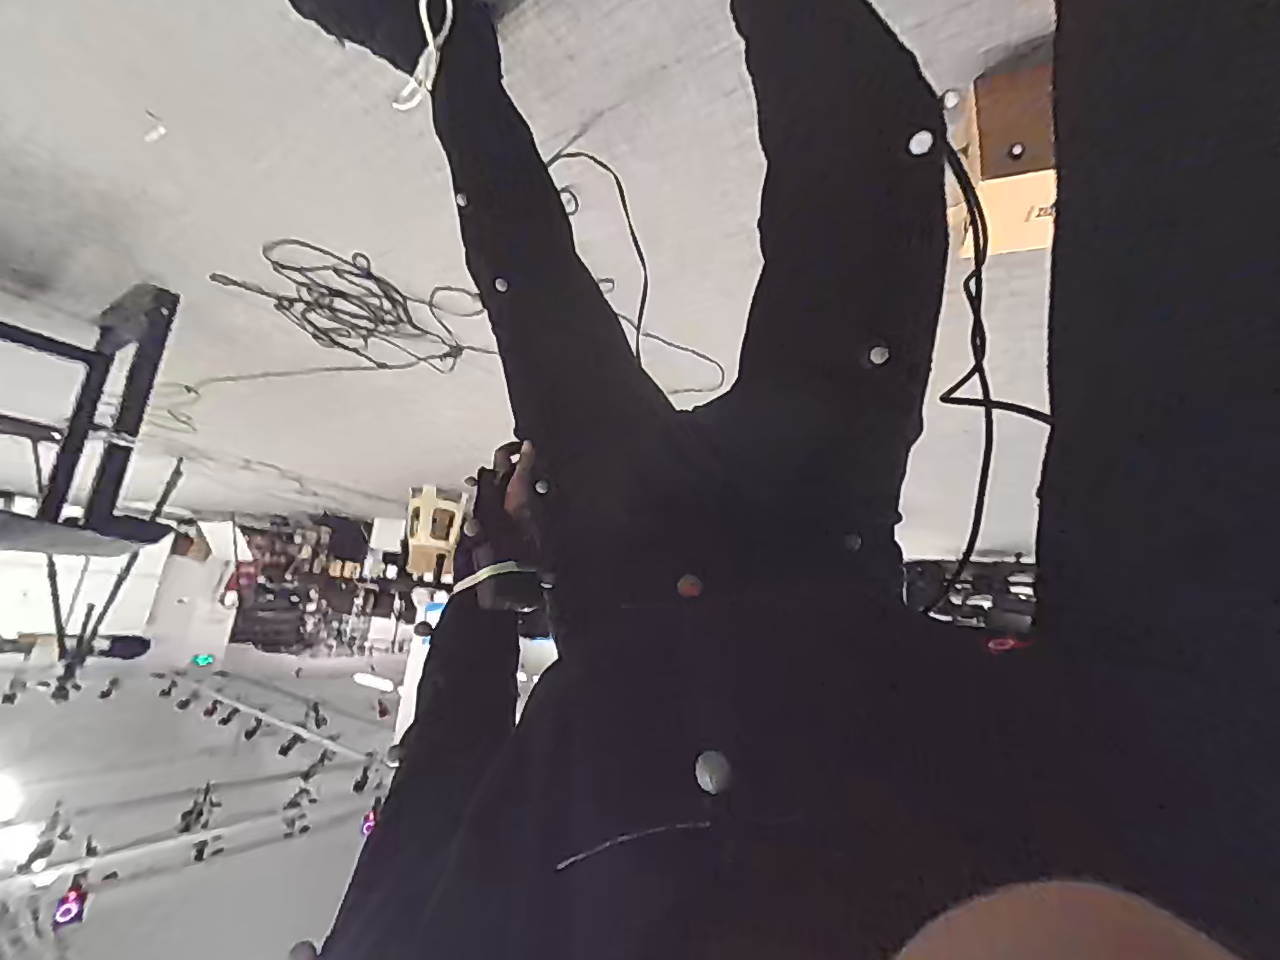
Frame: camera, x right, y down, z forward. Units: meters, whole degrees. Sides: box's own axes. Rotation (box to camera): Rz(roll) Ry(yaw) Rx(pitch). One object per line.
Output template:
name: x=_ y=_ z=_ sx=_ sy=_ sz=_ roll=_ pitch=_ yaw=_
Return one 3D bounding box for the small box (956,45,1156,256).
small box: x=0.549 y=-0.442 z=0.742 sx=0.179 sy=0.176 sz=0.168 roll=0 pitch=166 yaw=22
